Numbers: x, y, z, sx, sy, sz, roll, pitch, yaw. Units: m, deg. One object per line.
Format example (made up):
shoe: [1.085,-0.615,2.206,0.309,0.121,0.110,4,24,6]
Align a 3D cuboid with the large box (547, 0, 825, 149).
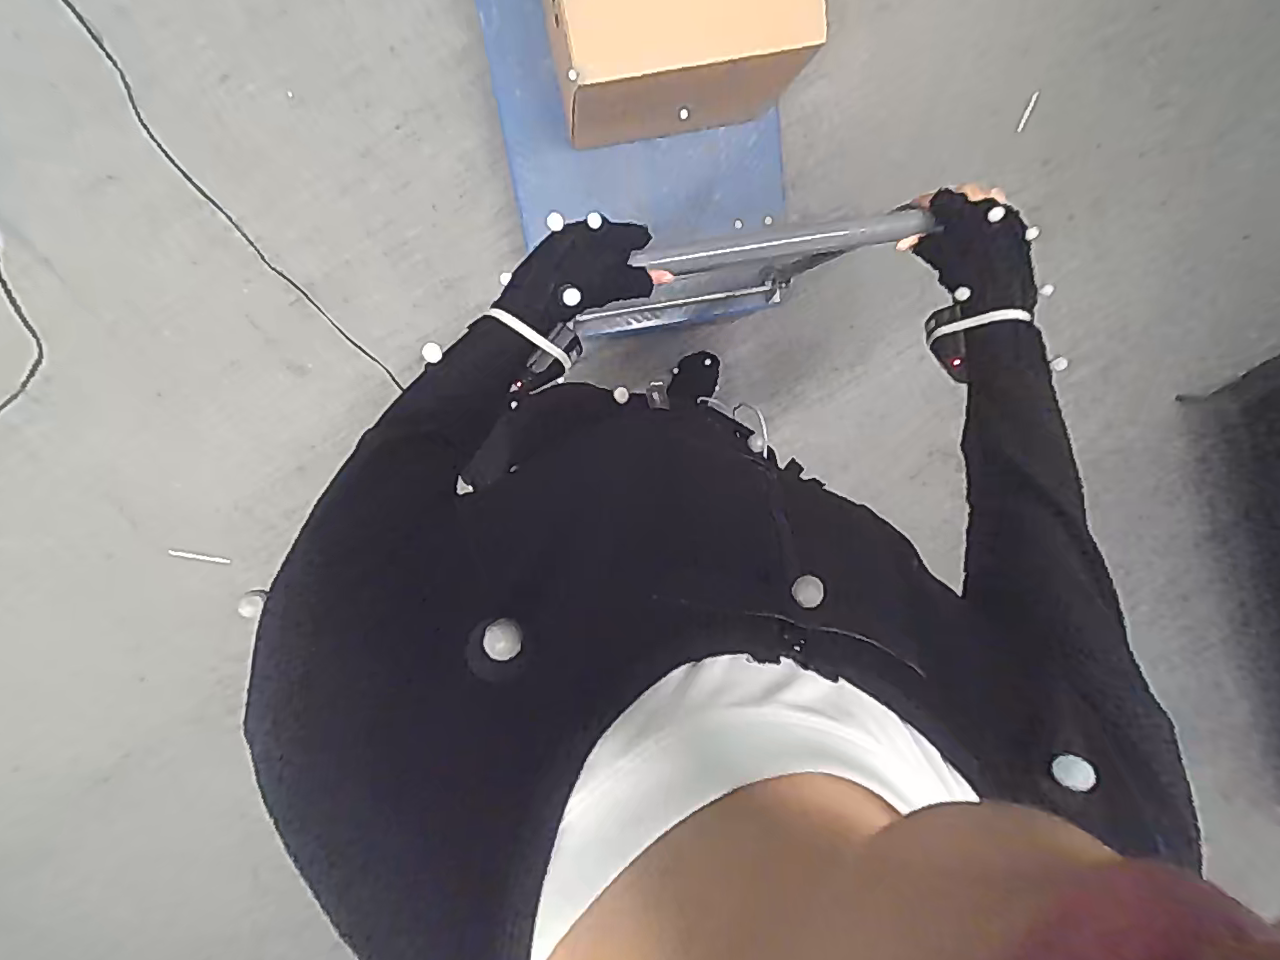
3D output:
large box: [0.054,-0.828,0.945,0.408,0.320,0.320,-13,105,-4]
